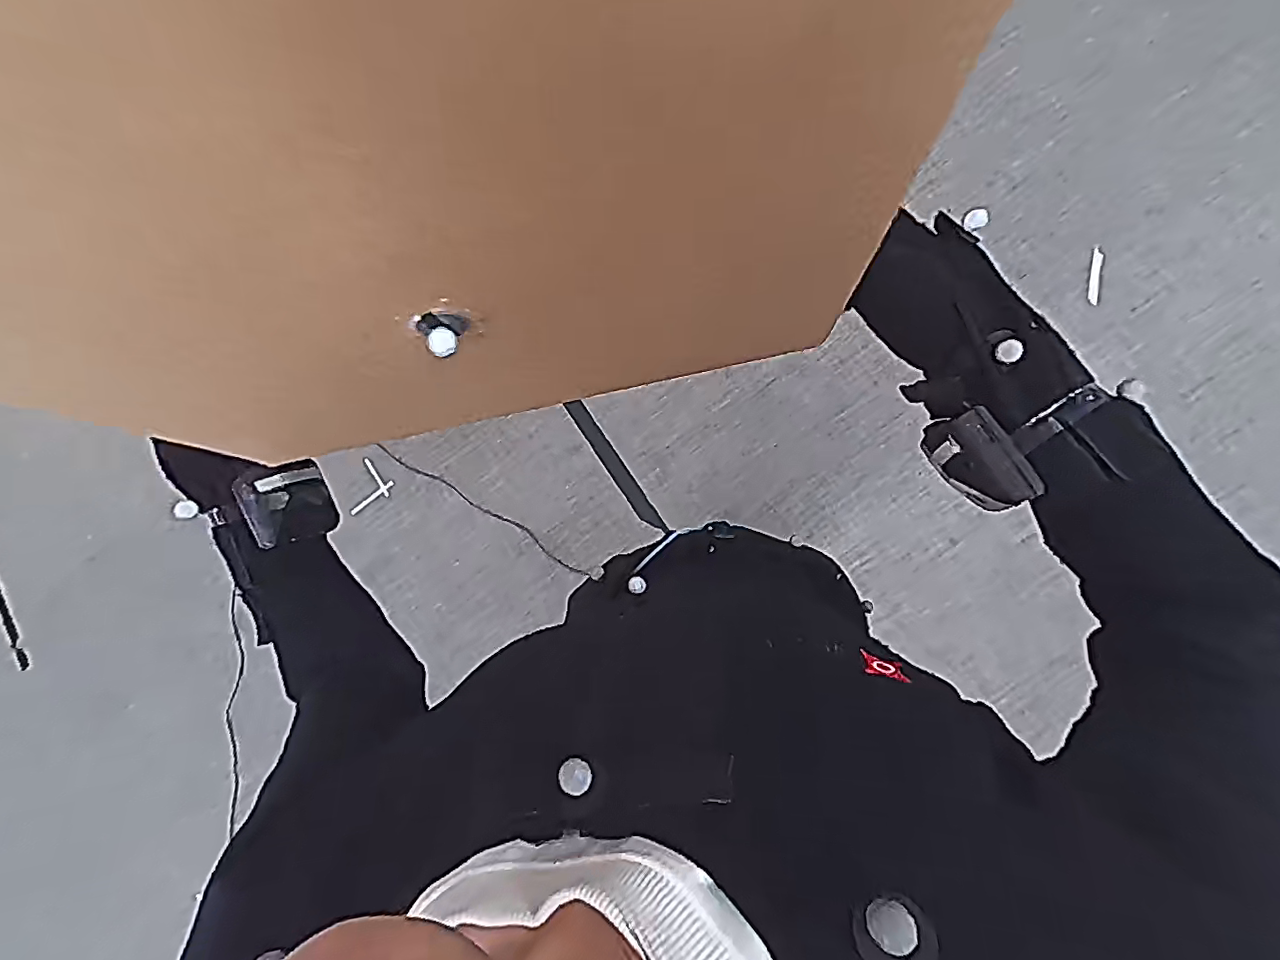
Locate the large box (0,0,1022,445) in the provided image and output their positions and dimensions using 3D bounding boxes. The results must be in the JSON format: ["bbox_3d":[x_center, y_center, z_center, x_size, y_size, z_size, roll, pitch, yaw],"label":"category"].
[{"bbox_3d":[-0.097,-0.233,0.284,0.408,0.320,0.320,-12,79,3],"label":"large box"}]
